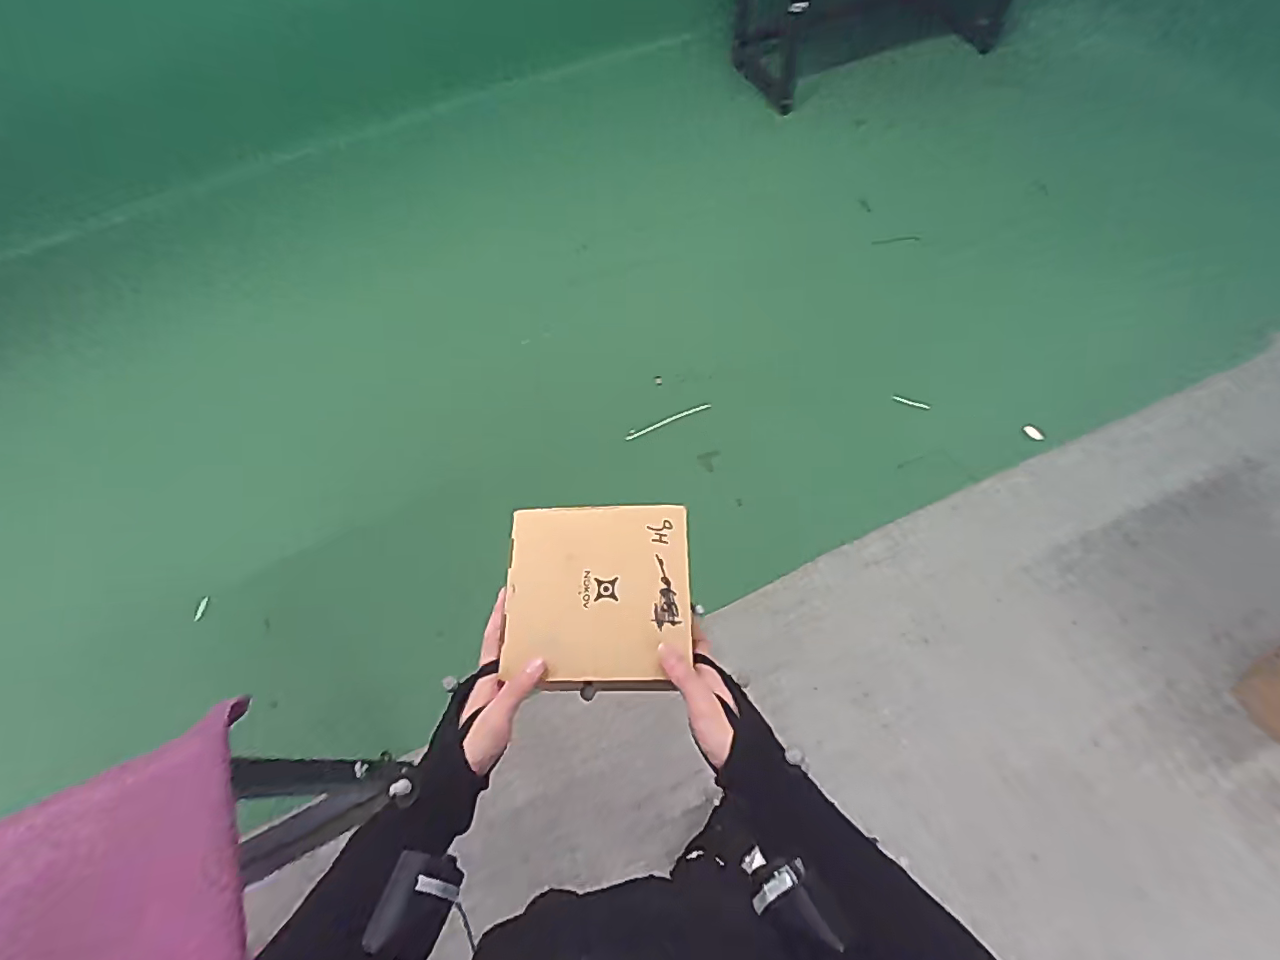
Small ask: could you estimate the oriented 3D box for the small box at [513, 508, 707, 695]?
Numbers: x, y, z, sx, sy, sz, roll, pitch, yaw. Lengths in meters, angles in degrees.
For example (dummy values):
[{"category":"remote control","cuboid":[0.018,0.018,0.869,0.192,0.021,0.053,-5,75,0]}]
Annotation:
[{"category":"small box","cuboid":[-0.020,0.137,0.579,0.179,0.176,0.168,0,65,3]}]
